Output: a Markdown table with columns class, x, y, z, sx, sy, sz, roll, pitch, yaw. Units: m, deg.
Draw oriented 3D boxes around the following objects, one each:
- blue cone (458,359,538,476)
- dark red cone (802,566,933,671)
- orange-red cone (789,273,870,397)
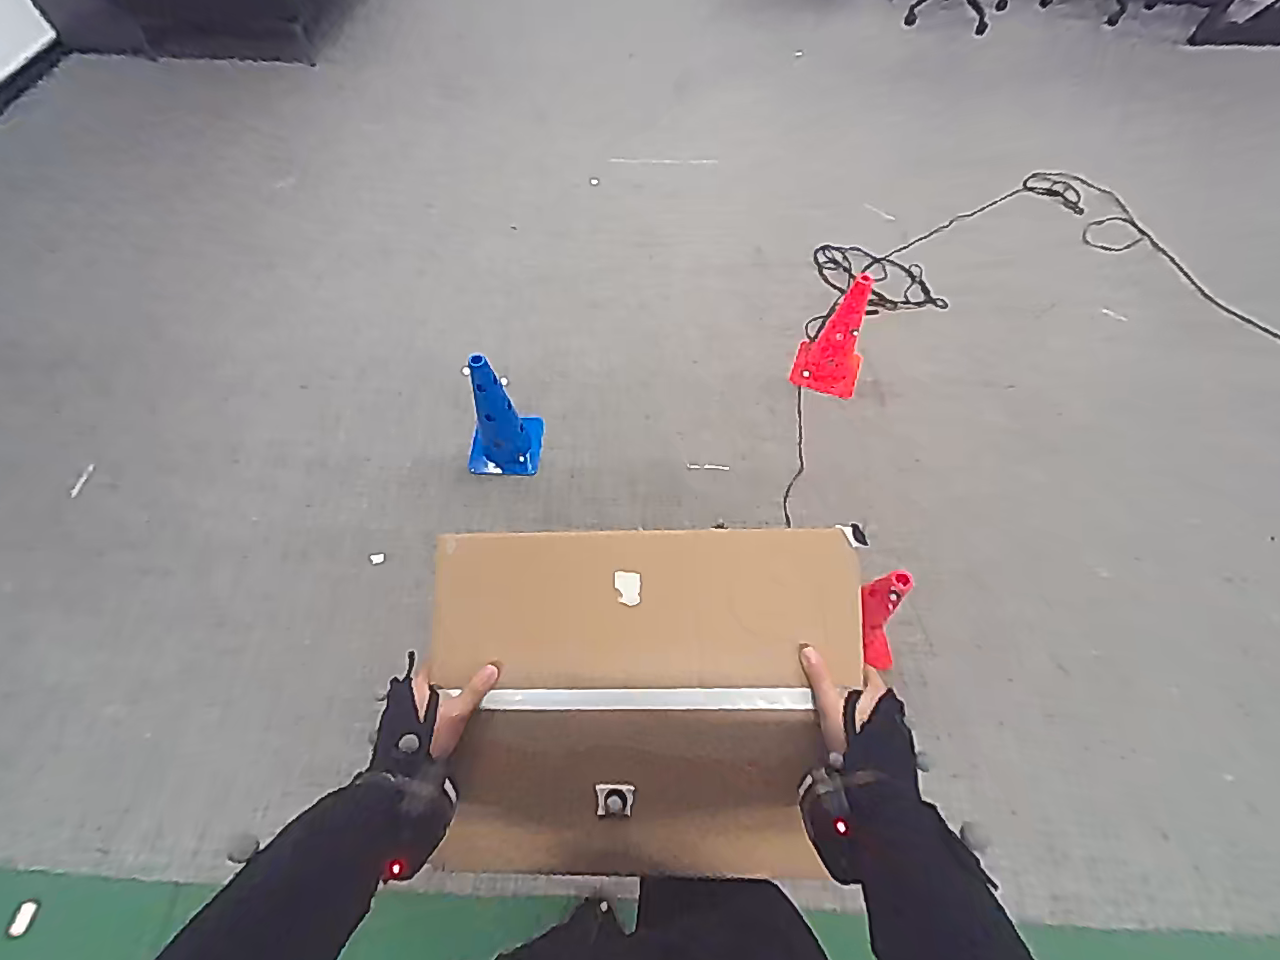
| class | x | y | z | sx | sy | sz | roll | pitch | yaw |
| --- | --- | --- | --- | --- | --- | --- | --- | --- | --- |
| blue cone | -0.400 | -0.176 | 1.432 | 0.192 | 0.380 | 0.193 | 2 | 58 | 2 |
| dark red cone | 0.489 | 0.258 | 1.114 | 0.202 | 0.394 | 0.201 | -4 | 62 | -2 |
| orange-red cone | 0.586 | -0.441 | 1.562 | 0.199 | 0.360 | 0.198 | 20 | 62 | 11 |
